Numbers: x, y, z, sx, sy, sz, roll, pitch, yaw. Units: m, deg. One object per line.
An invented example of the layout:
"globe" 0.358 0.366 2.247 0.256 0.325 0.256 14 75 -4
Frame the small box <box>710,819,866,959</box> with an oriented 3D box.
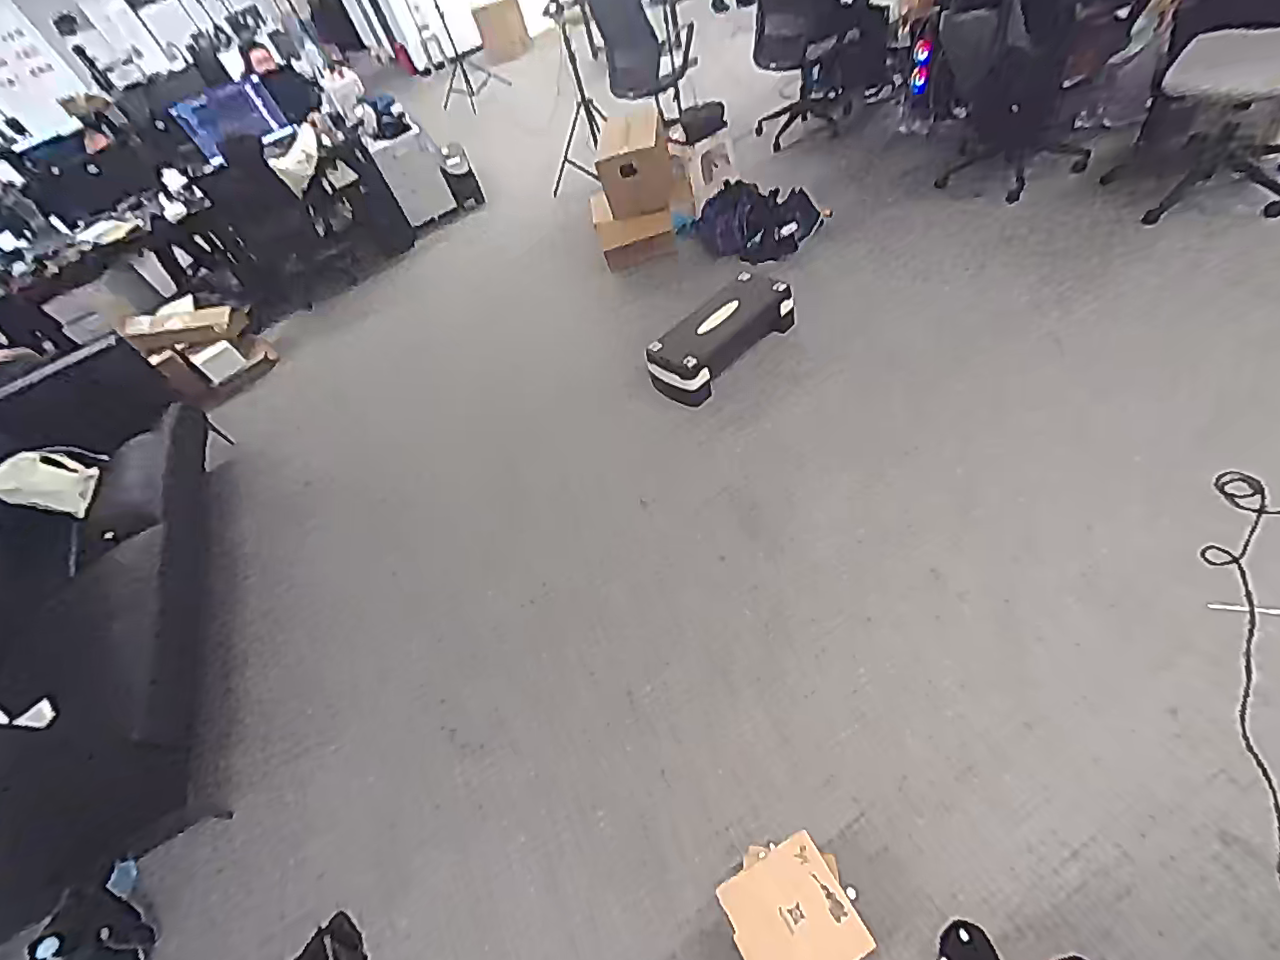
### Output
"small box" 0.241 0.689 0.875 0.179 0.176 0.168 -31 50 -4
